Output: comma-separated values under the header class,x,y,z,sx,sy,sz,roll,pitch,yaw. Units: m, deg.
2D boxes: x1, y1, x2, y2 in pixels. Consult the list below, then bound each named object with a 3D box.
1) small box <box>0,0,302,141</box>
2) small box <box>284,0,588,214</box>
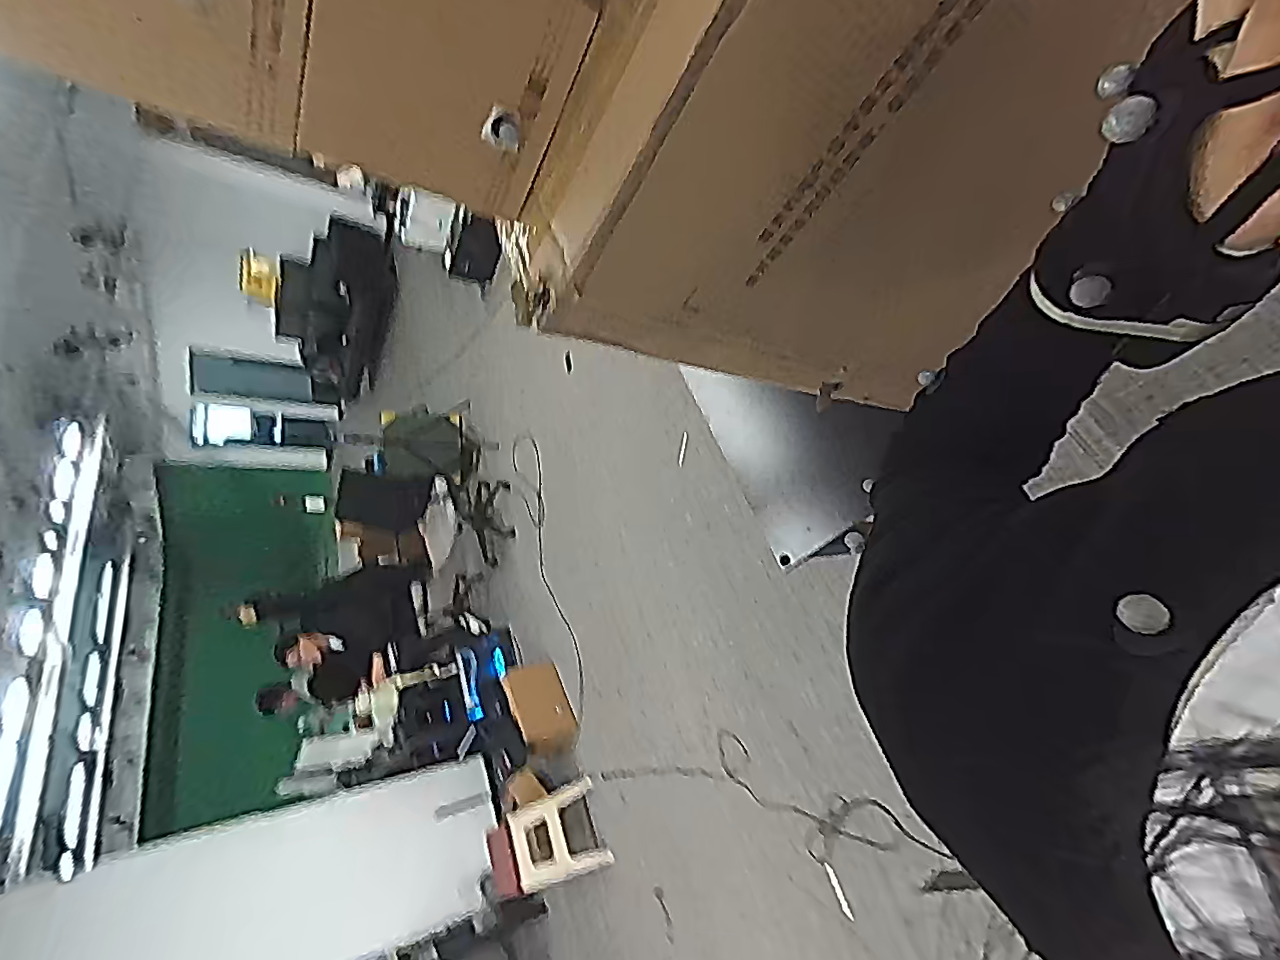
class,x,y,z,sx,sy,sz,roll,pitch,yaw
small box,-0.297,-0.338,0.313,0.168,0.176,0.179,-51,51,38
small box,-0.166,-0.337,0.414,0.168,0.176,0.179,-54,51,37
